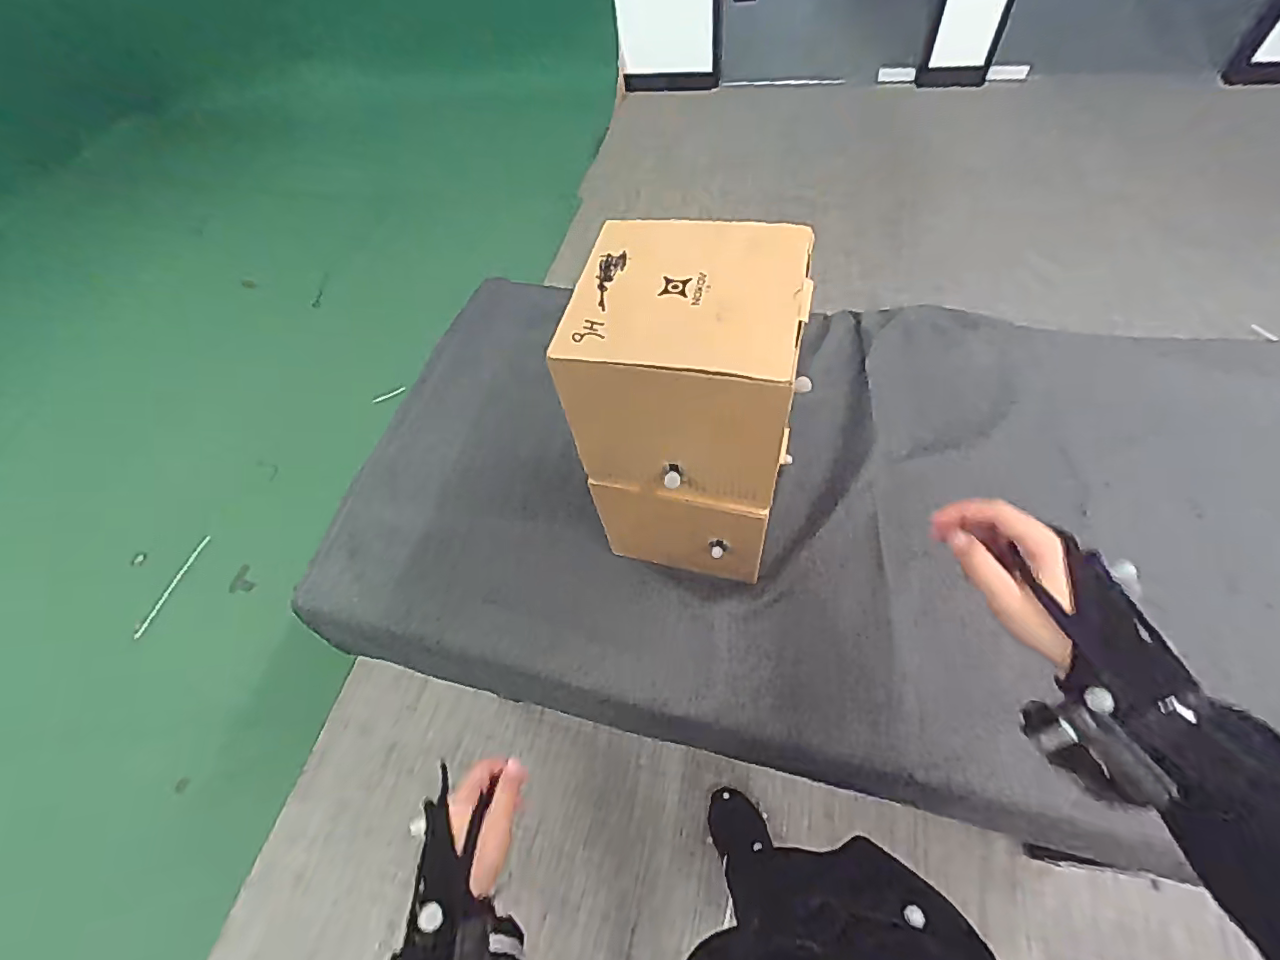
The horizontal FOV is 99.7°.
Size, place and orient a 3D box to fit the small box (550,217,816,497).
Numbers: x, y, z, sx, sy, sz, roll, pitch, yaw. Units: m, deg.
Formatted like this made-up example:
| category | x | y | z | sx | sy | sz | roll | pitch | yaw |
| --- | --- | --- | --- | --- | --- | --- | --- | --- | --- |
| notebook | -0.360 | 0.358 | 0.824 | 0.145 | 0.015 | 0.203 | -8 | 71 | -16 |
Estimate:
| category | x | y | z | sx | sy | sz | roll | pitch | yaw |
| --- | --- | --- | --- | --- | --- | --- | --- | --- | --- |
| small box | 0.045 | -0.101 | 0.478 | 0.179 | 0.176 | 0.168 | 9 | 59 | 12 |

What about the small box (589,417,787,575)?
| category | x | y | z | sx | sy | sz | roll | pitch | yaw |
| --- | --- | --- | --- | --- | --- | --- | --- | --- | --- |
| small box | 0.062 | -0.008 | 0.611 | 0.179 | 0.176 | 0.168 | 9 | 59 | 14 |
